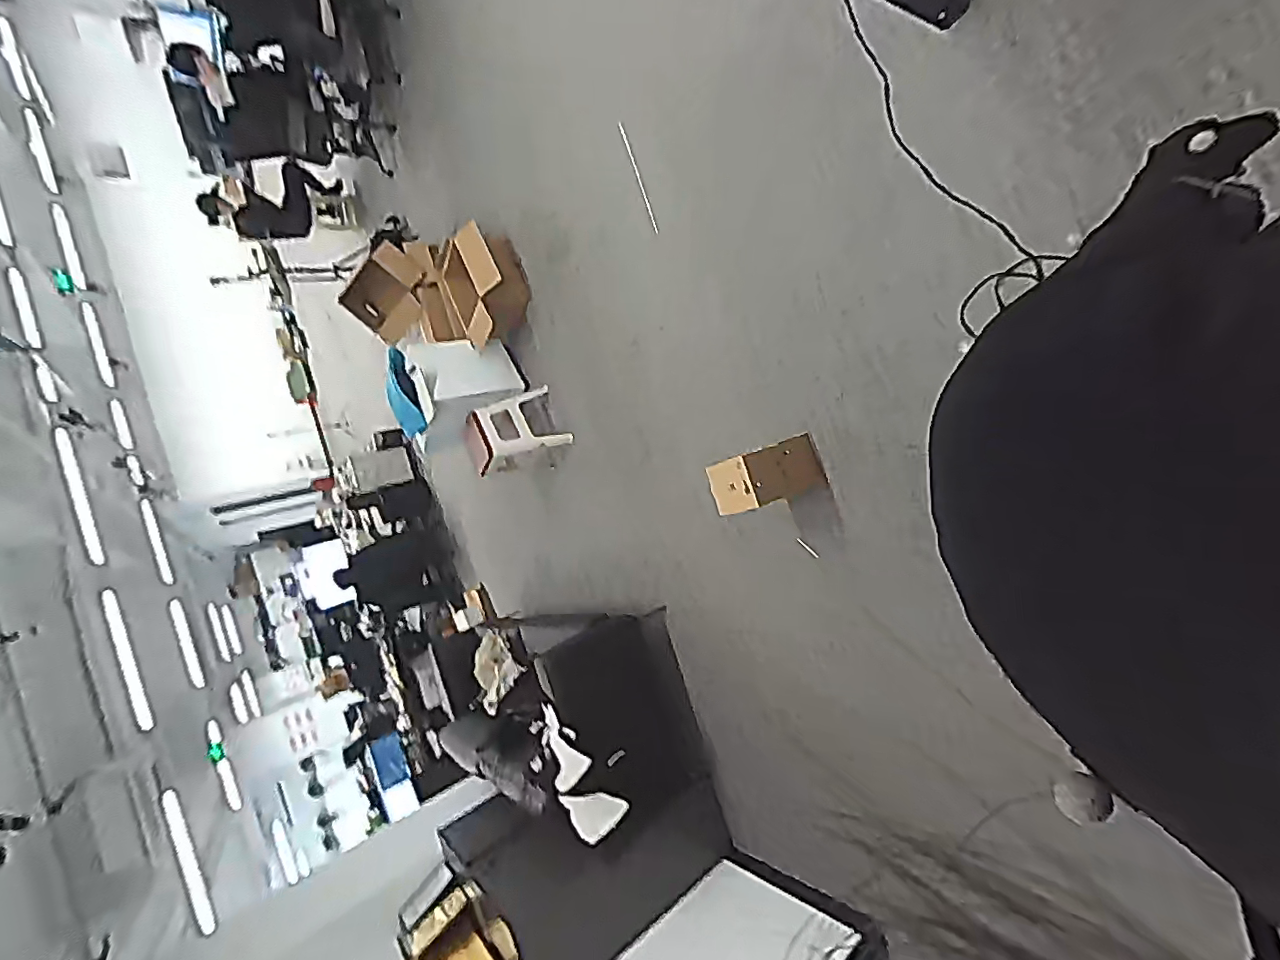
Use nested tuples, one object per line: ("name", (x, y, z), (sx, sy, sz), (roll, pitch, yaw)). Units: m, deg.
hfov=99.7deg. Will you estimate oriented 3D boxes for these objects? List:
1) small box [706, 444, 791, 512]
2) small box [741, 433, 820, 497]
("small box", (0.344, -0.006, 1.716), (0.179, 0.176, 0.168), (-19, 88, 56))
("small box", (0.473, -0.044, 1.812), (0.168, 0.176, 0.179), (-19, 87, 55))
